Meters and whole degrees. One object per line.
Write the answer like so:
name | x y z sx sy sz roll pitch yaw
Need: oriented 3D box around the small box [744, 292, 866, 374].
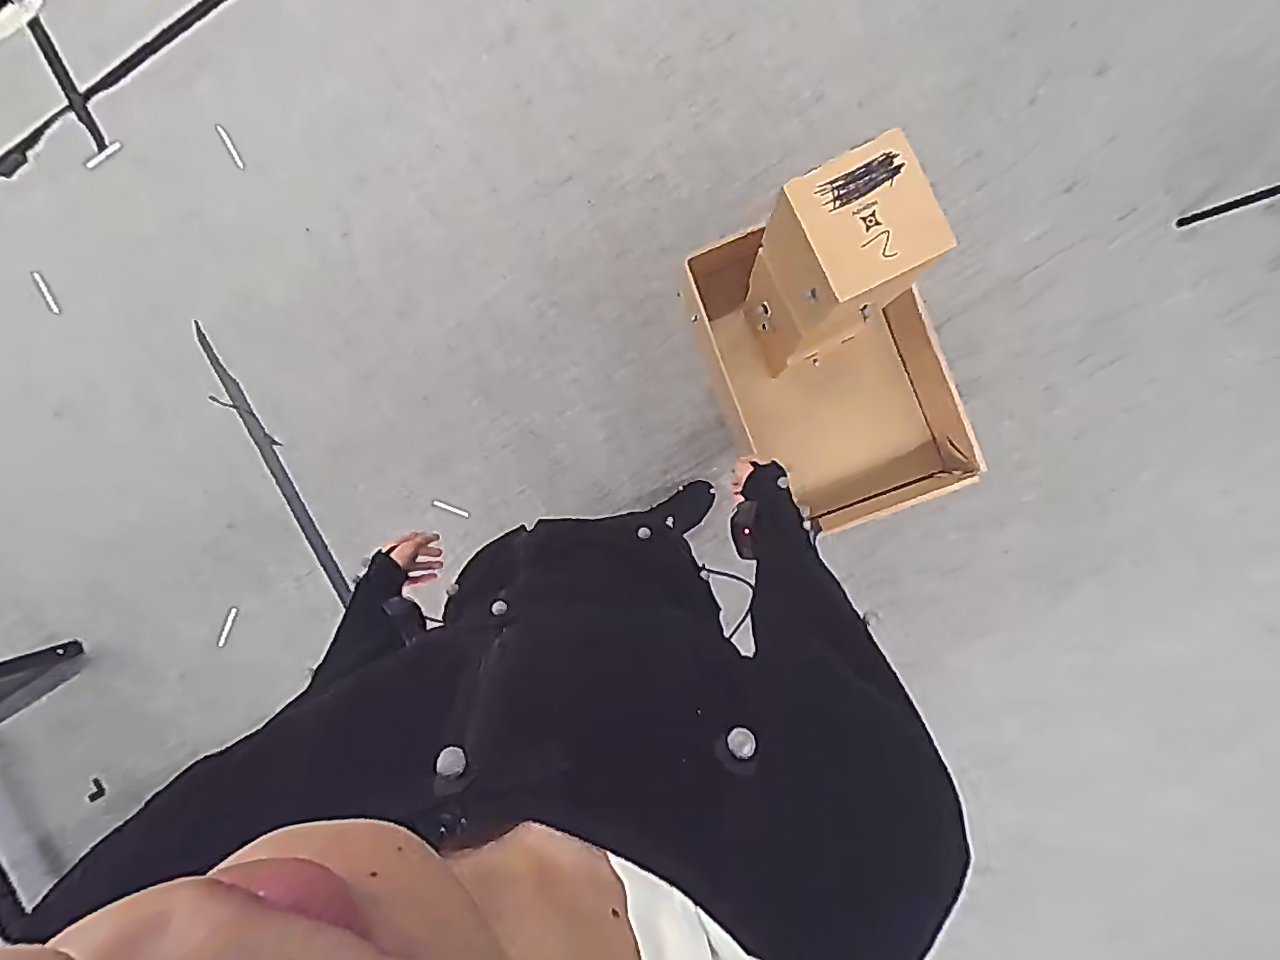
small box | 0.323 -0.336 1.099 0.168 0.176 0.179 -24 90 5

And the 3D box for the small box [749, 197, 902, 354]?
small box | 0.308 -0.341 0.936 0.179 0.176 0.168 -26 89 4
